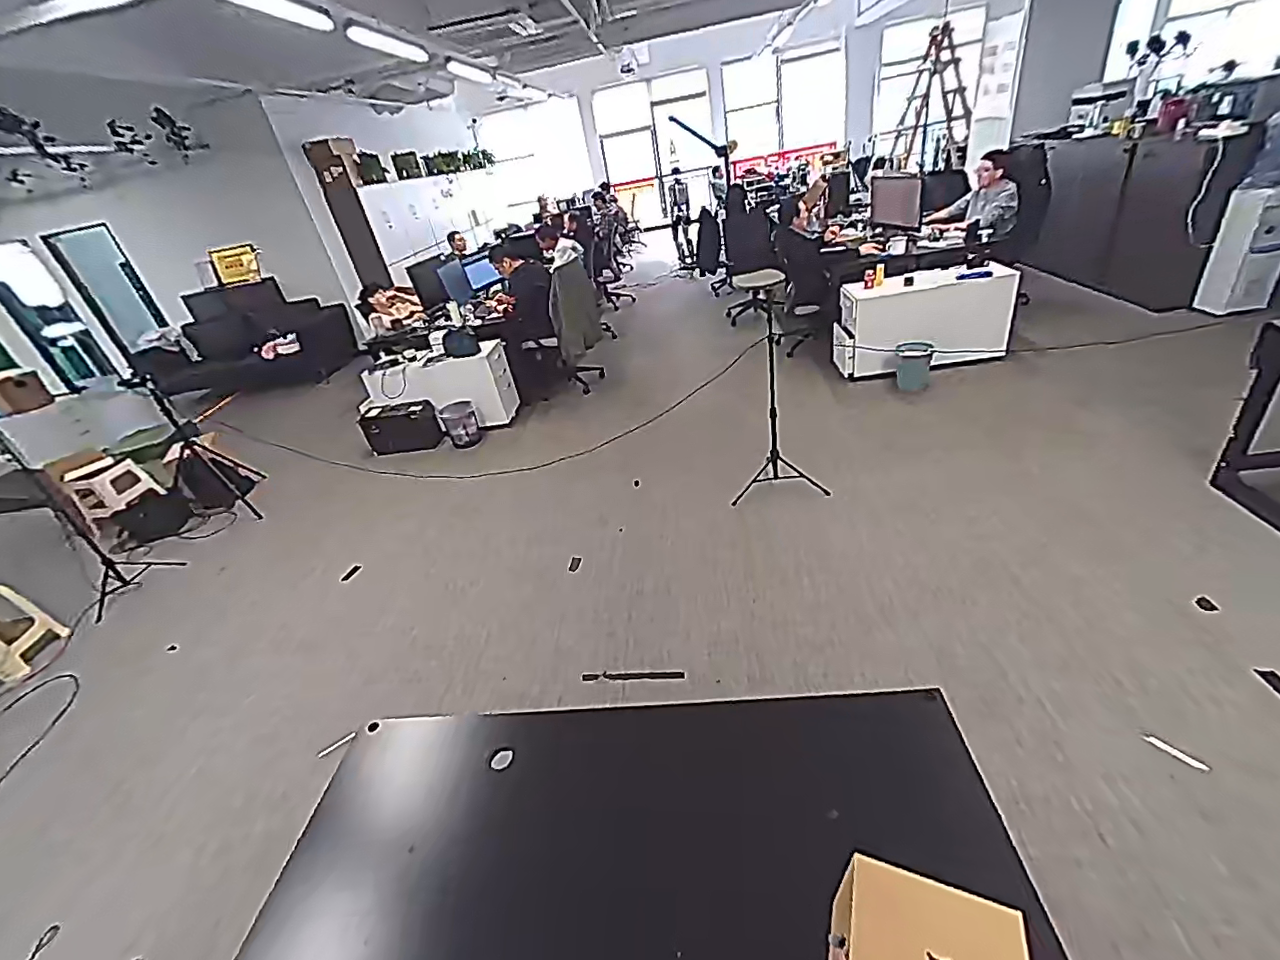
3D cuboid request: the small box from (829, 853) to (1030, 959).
[{"bbox_3d":[0.290,0.543,0.562,0.168,0.176,0.179,9,39,19],"label":"small box"}]
